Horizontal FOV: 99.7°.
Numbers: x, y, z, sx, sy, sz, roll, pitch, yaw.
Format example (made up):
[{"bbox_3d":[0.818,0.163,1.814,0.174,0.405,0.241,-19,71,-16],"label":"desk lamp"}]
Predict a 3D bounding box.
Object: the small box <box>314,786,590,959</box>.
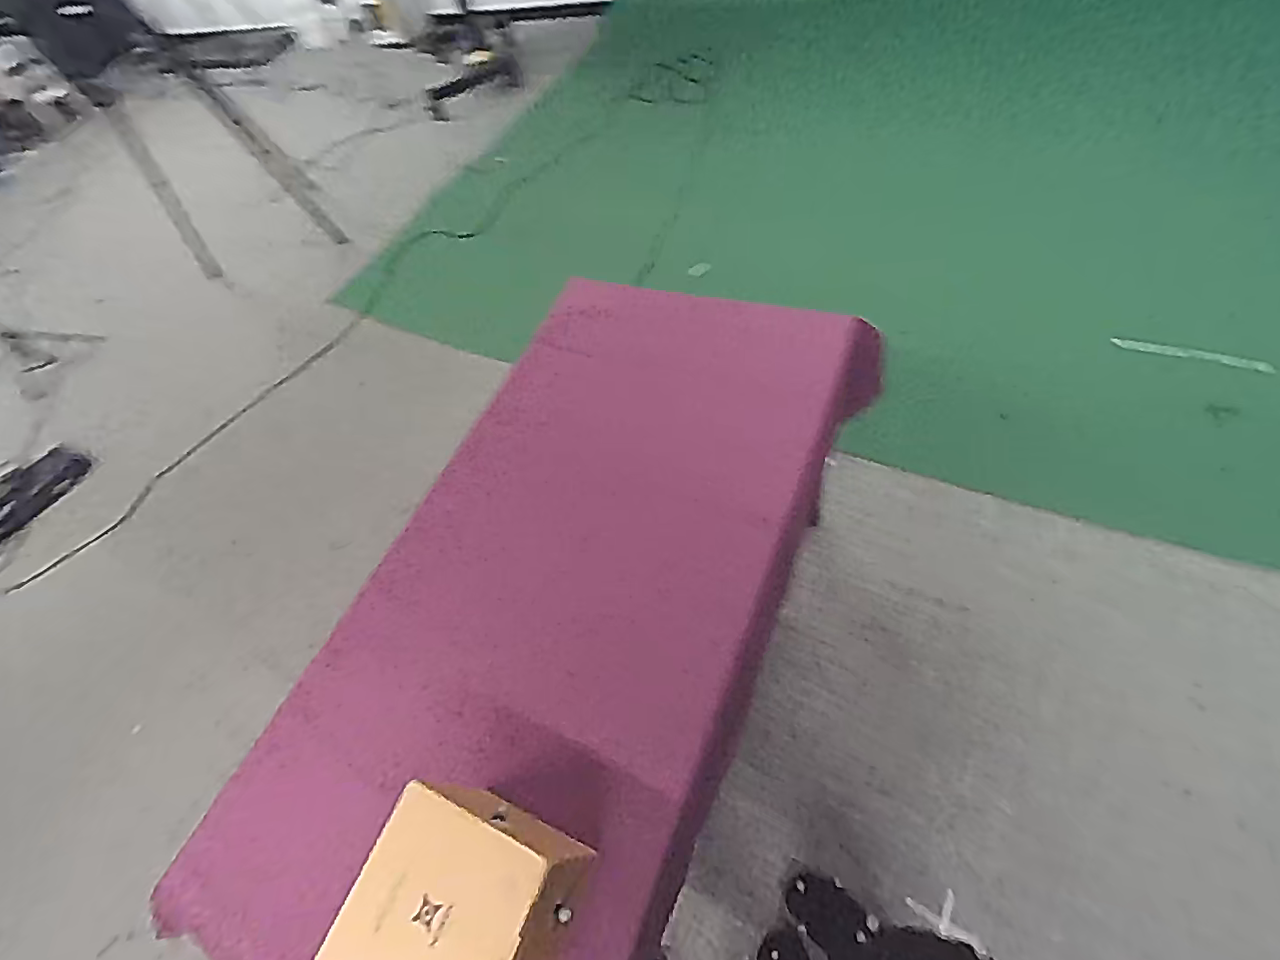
[{"bbox_3d":[-0.174,0.440,0.557,0.179,0.176,0.168,14,62,22],"label":"small box"}]
